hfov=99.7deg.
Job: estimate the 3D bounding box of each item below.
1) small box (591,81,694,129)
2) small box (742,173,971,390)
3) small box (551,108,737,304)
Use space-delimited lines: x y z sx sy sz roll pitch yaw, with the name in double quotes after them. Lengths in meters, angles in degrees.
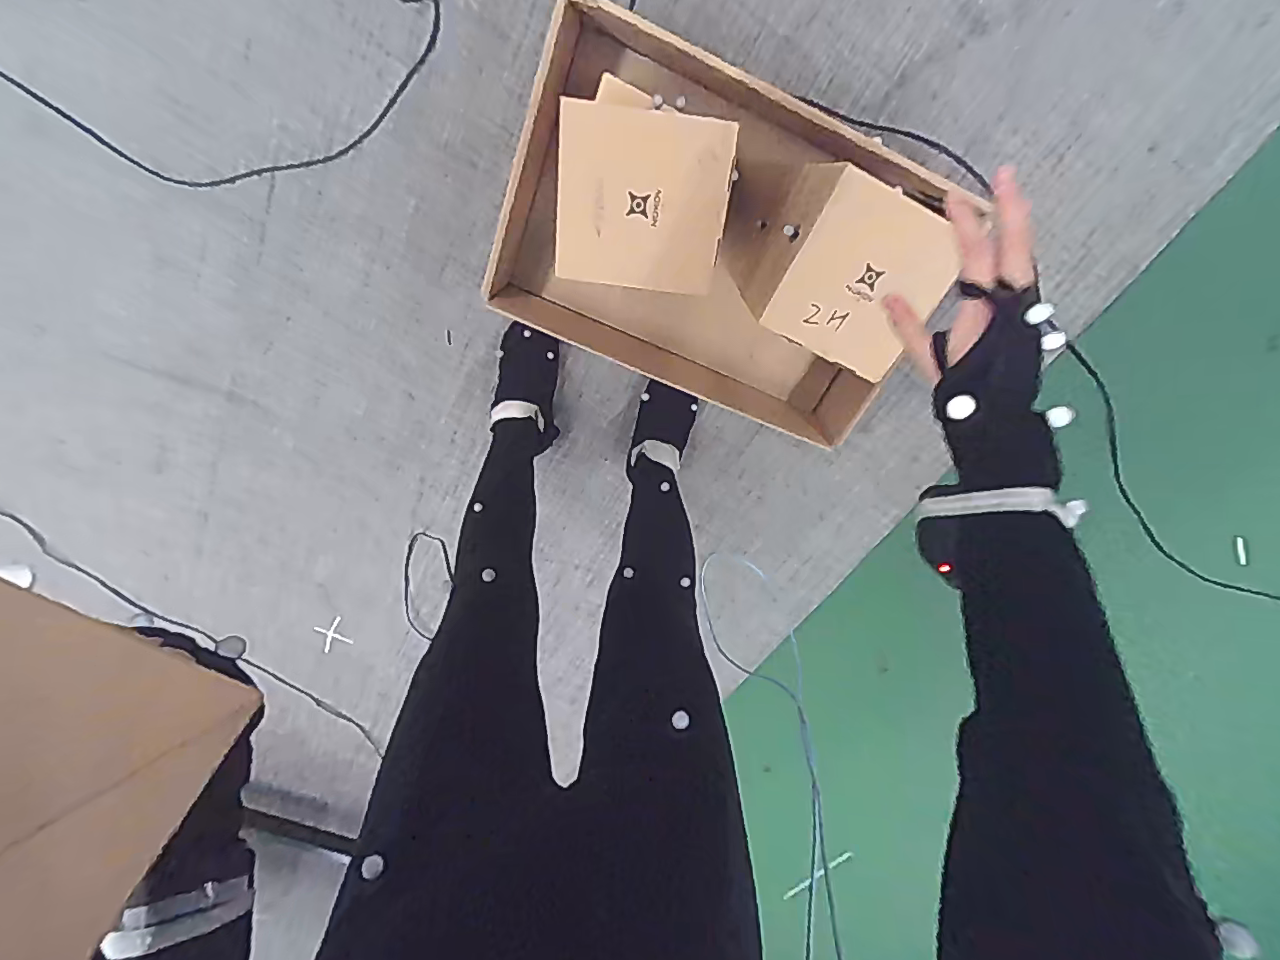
0.003 -0.415 0.754 0.179 0.176 0.168 21 120 -12 "small box"
0.238 -0.244 0.652 0.168 0.176 0.179 24 119 -10 "small box"
0.000 -0.316 0.624 0.179 0.176 0.168 7 121 -2 "small box"
